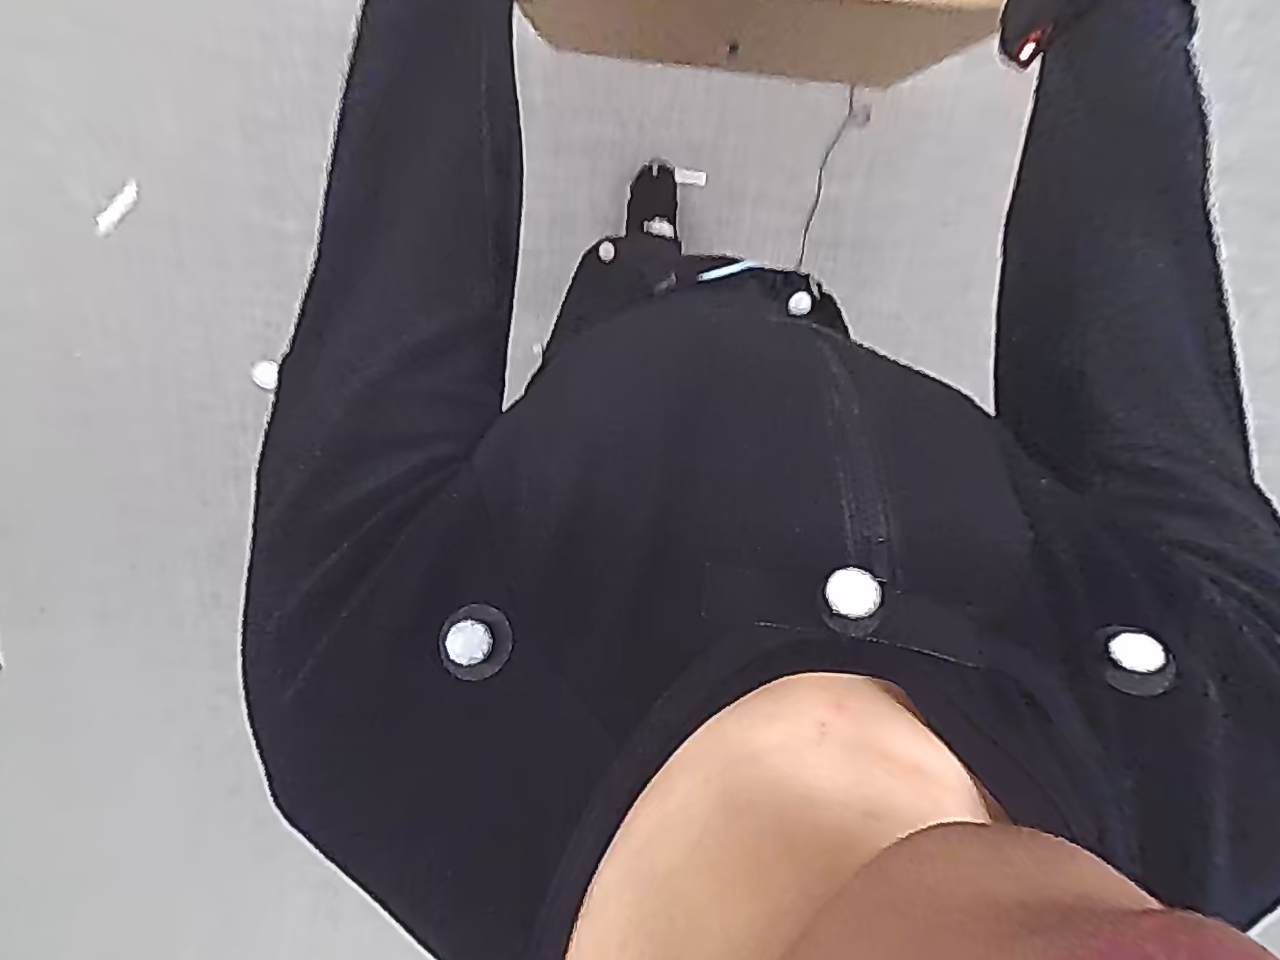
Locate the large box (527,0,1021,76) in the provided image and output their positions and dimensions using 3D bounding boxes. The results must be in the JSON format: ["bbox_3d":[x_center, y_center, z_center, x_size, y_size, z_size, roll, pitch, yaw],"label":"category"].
[{"bbox_3d":[0.108,-0.567,0.455,0.408,0.320,0.320,6,117,0],"label":"large box"}]
